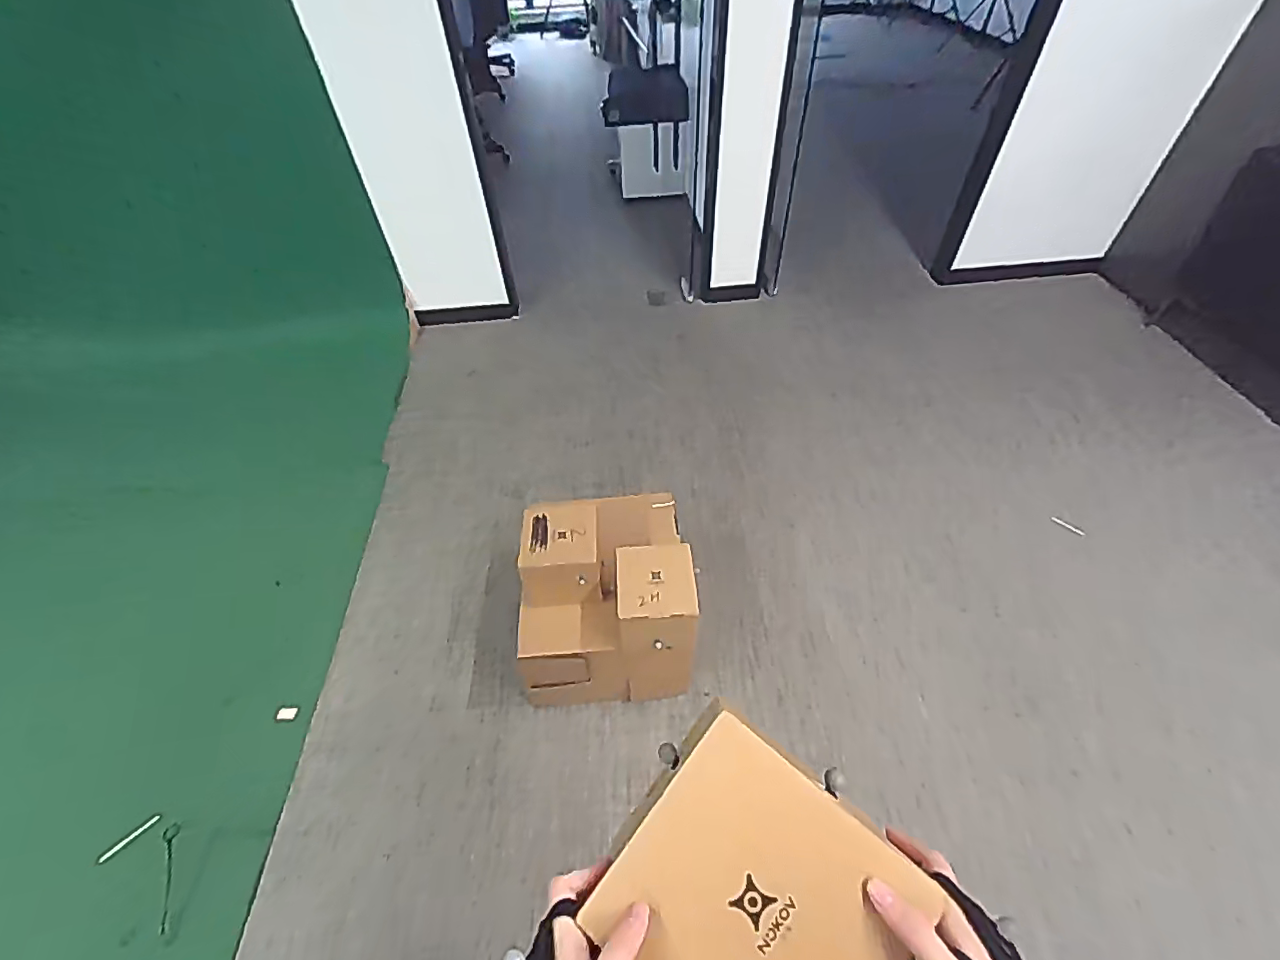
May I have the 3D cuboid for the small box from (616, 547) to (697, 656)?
[{"bbox_3d":[0.031,0.269,1.197,0.168,0.176,0.179,-3,48,-1],"label":"small box"}]
